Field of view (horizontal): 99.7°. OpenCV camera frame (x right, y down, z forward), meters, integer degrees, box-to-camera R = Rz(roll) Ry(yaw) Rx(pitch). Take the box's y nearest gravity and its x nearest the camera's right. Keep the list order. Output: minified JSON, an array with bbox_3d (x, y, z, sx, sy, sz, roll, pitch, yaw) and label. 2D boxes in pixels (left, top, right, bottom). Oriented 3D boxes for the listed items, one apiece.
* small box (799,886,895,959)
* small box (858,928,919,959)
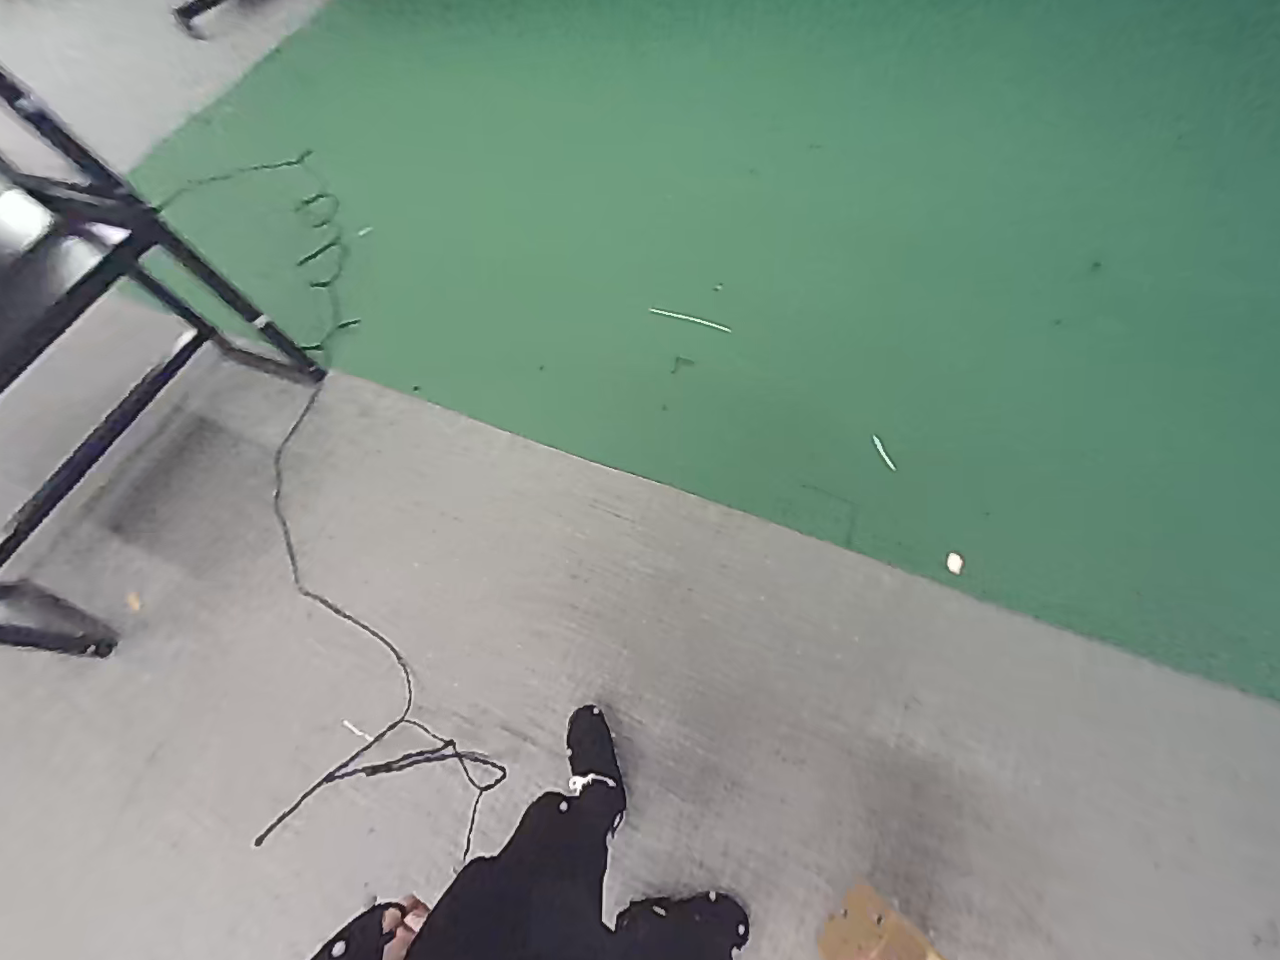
[{"bbox_3d":[0.439,0.957,1.078,0.168,0.176,0.179,-42,67,-11],"label":"small box"},{"bbox_3d":[0.395,0.816,0.784,0.168,0.176,0.179,37,74,21],"label":"small box"}]
